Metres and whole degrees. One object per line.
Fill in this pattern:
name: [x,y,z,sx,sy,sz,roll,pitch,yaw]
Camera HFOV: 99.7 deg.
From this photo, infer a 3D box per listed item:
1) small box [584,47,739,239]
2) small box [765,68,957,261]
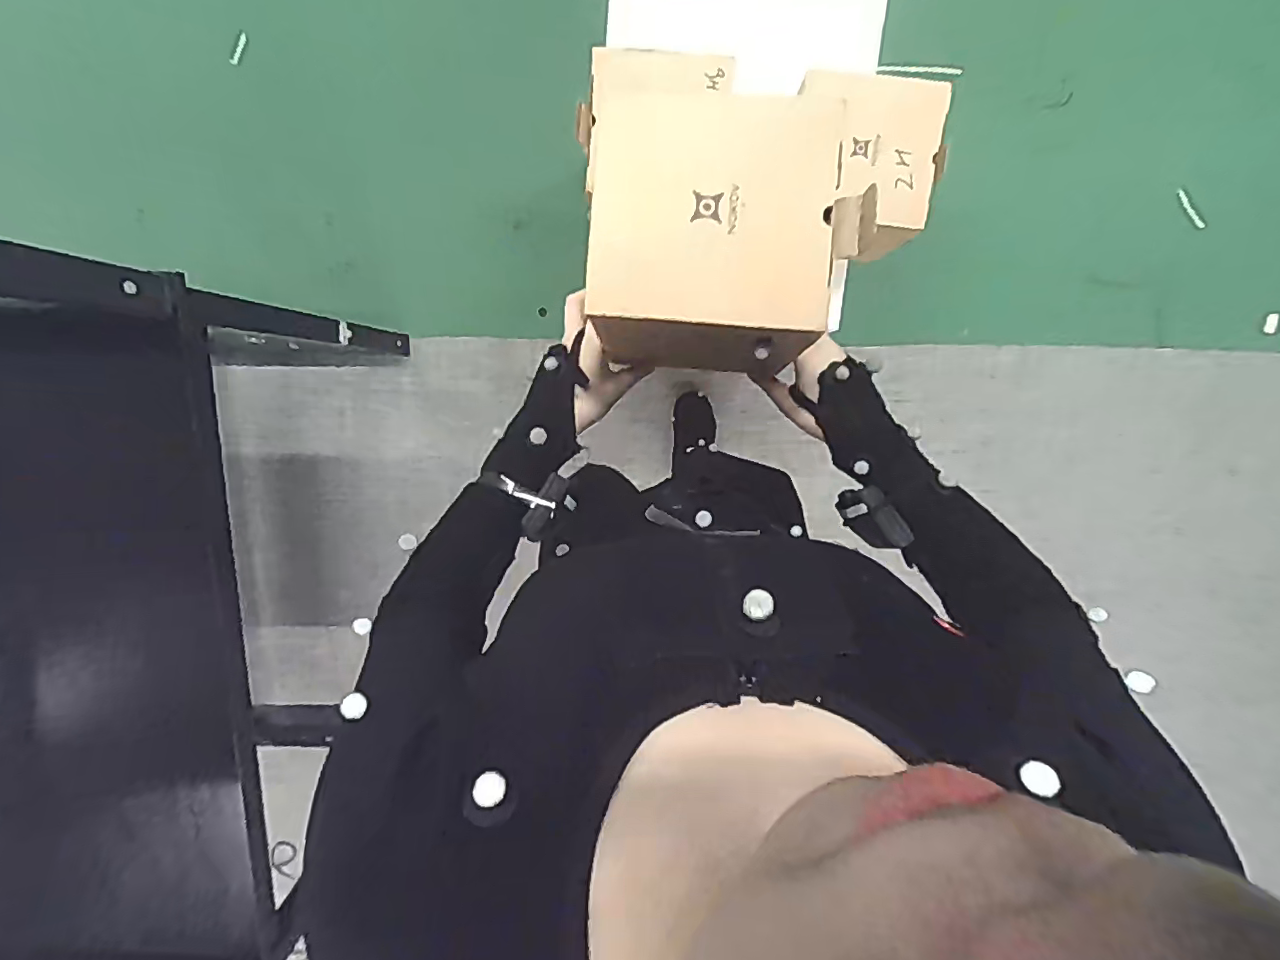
small box: [0.026,-0.433,0.723,0.179,0.176,0.168,4,99,0]
small box: [0.275,-0.402,0.718,0.179,0.176,0.168,7,100,1]
